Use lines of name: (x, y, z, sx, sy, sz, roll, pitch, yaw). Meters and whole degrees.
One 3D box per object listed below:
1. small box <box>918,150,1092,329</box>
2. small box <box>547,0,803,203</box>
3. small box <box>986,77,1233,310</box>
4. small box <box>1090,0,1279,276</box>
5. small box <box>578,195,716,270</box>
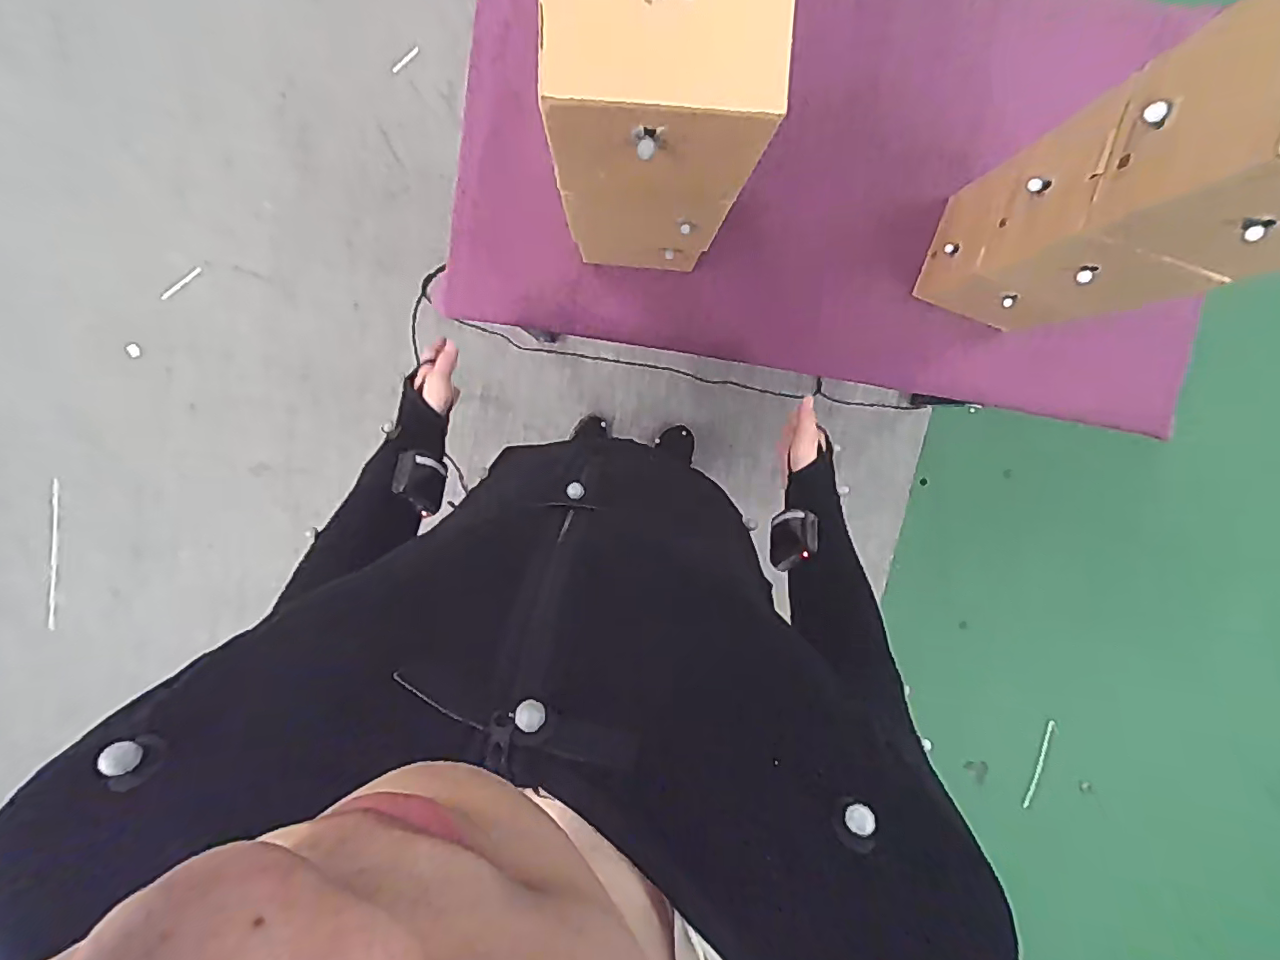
small box: (0.550, -0.334, 0.793, 0.179, 0.176, 0.168, 20, 96, -4)
small box: (0.022, -0.344, 0.444, 0.179, 0.176, 0.168, 2, 98, -2)
small box: (0.554, -0.312, 0.631, 0.179, 0.176, 0.168, 17, 97, -3)
small box: (0.561, -0.292, 0.467, 0.179, 0.176, 0.168, 16, 97, -3)
small box: (0.010, -0.404, 0.766, 0.179, 0.176, 0.168, 4, 98, -2)
